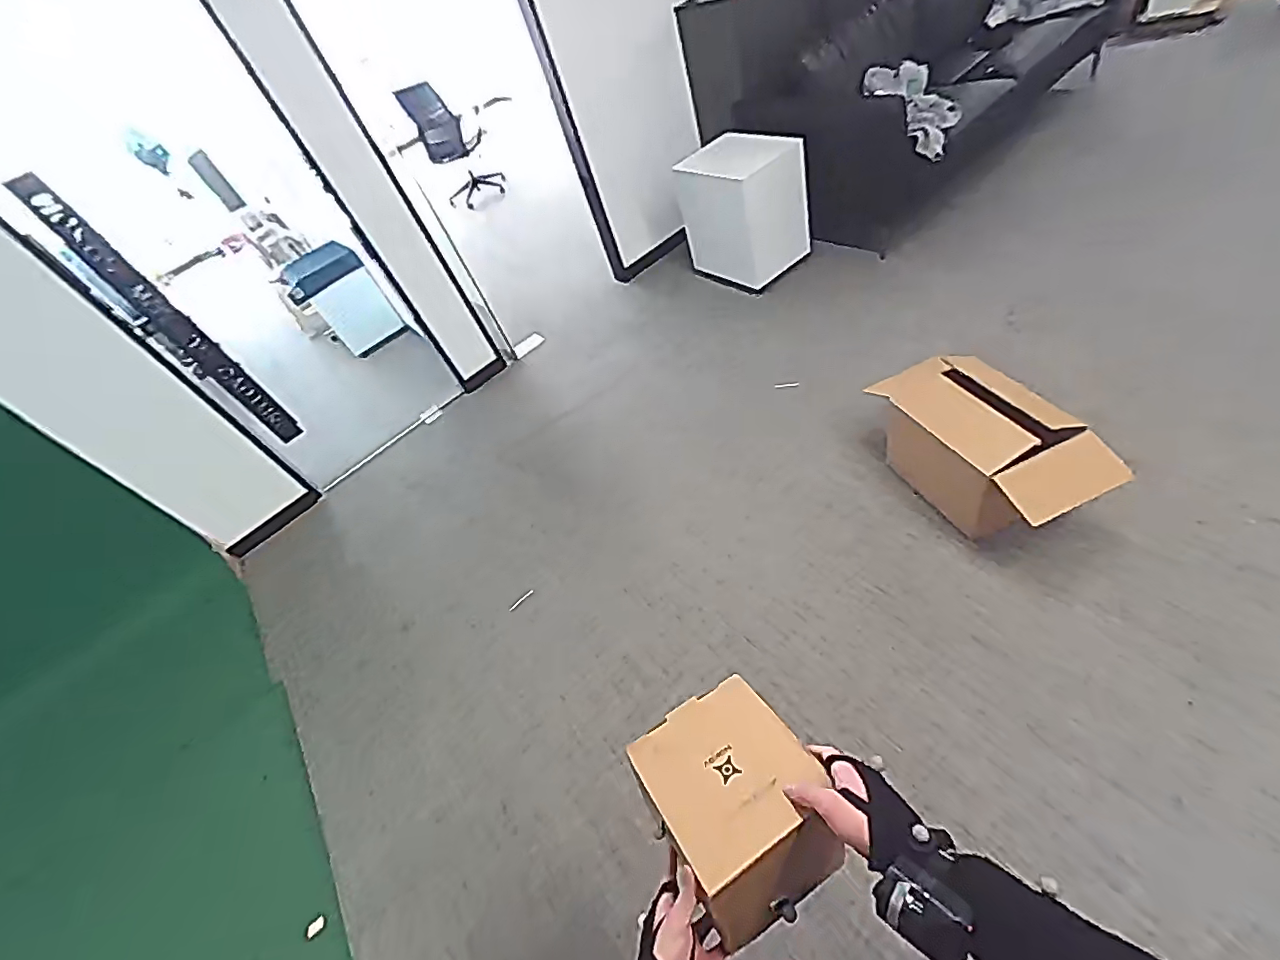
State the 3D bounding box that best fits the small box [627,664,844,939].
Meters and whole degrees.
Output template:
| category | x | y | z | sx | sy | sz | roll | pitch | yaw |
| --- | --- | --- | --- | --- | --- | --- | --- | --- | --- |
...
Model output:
| category | x | y | z | sx | sy | sz | roll | pitch | yaw |
| --- | --- | --- | --- | --- | --- | --- | --- | --- | --- |
| small box | 0.107 | 0.356 | 0.613 | 0.168 | 0.176 | 0.179 | -26 | 34 | -14 |
